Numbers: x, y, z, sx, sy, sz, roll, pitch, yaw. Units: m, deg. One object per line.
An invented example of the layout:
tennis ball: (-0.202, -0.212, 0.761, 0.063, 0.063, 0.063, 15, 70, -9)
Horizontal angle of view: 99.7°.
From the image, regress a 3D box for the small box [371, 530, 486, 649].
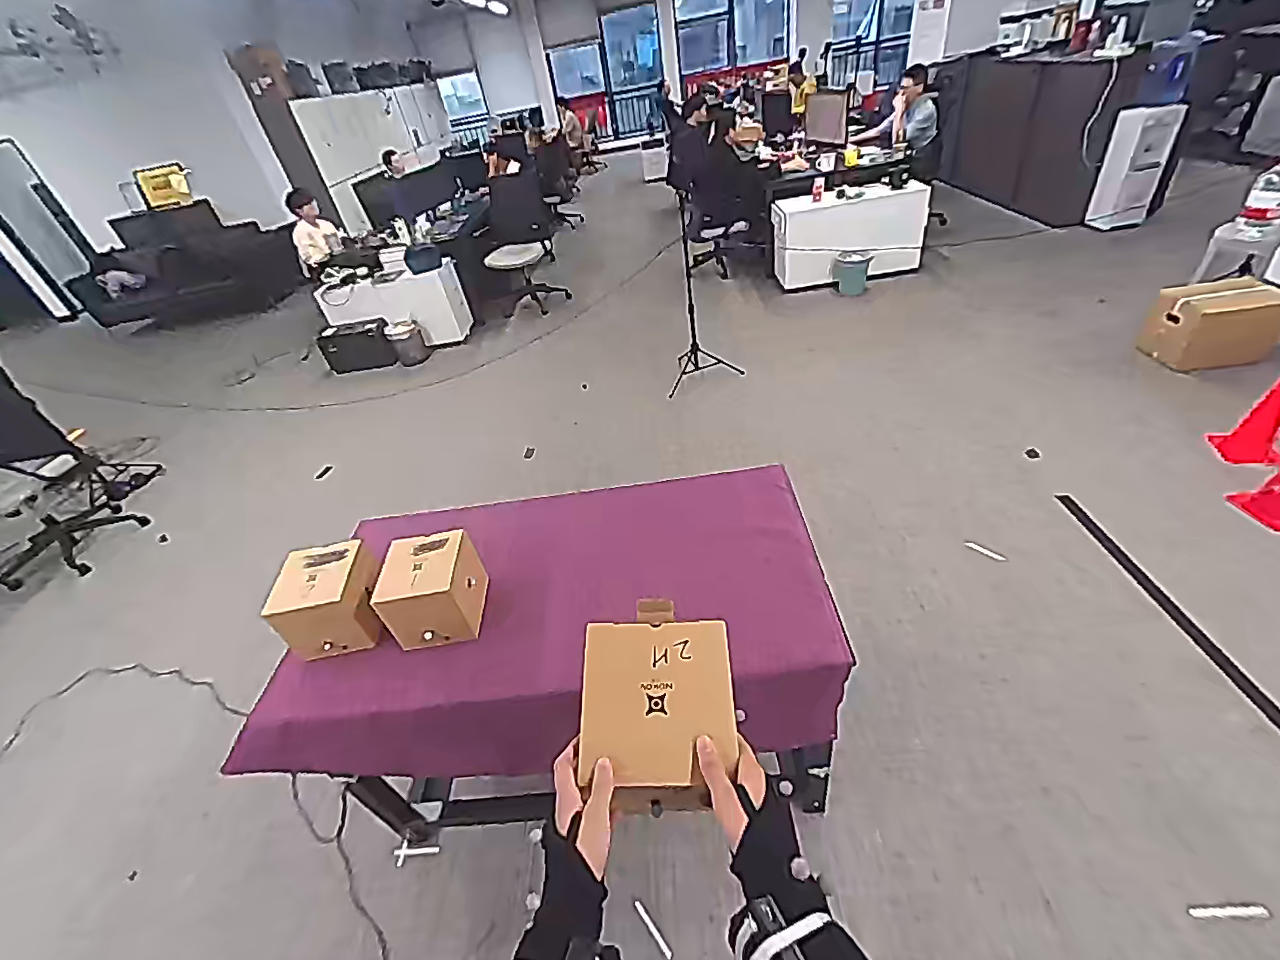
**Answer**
small box: (-0.446, 0.237, 1.176, 0.168, 0.176, 0.179, -10, 39, 2)

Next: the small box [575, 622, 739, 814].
small box: (0.023, 0.284, 0.639, 0.168, 0.176, 0.179, -1, 50, 2)
